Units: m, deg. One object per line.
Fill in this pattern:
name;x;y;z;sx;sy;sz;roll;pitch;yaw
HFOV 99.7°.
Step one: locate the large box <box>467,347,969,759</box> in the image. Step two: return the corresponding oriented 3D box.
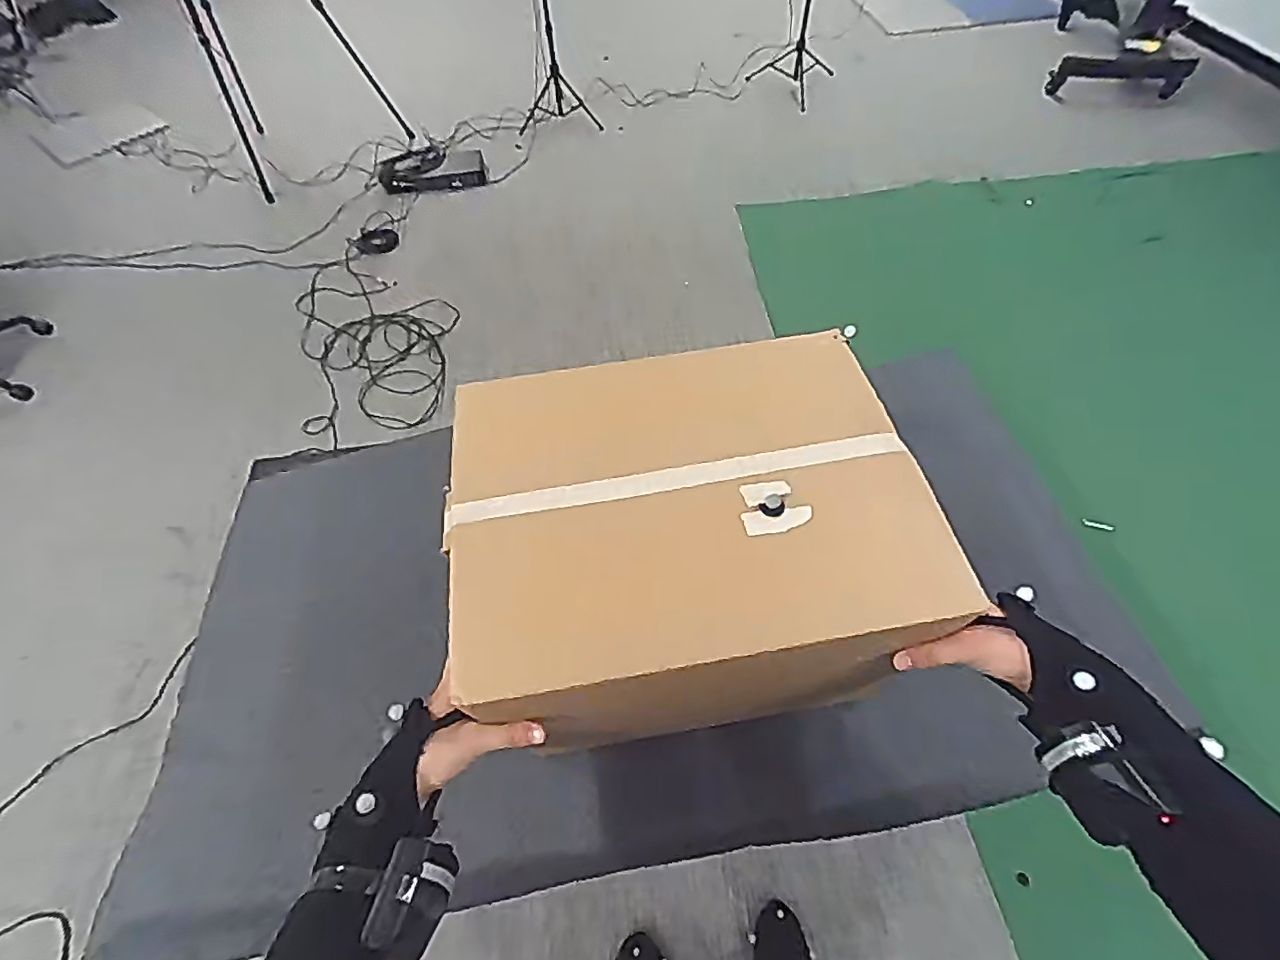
large box;0.046;0.094;0.616;0.408;0.320;0.320;-9;57;-4
